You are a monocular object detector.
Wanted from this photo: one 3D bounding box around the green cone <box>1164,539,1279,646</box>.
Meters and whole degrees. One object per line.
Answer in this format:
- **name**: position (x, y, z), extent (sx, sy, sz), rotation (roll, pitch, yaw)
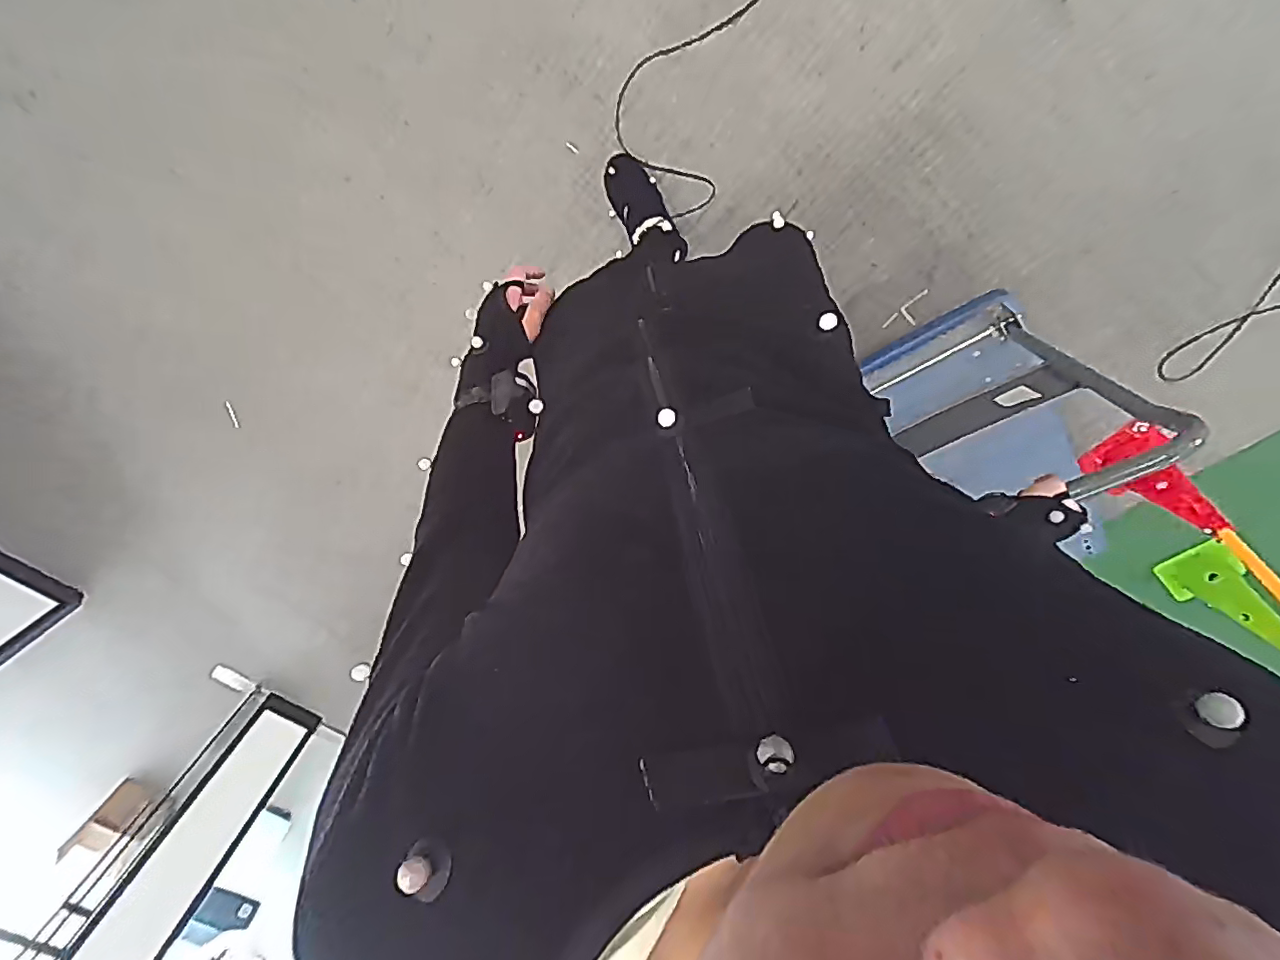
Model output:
- **green cone**: position (1.781, 0.378, 1.562), extent (0.202, 0.368, 0.200), rotation (39, 118, -17)
